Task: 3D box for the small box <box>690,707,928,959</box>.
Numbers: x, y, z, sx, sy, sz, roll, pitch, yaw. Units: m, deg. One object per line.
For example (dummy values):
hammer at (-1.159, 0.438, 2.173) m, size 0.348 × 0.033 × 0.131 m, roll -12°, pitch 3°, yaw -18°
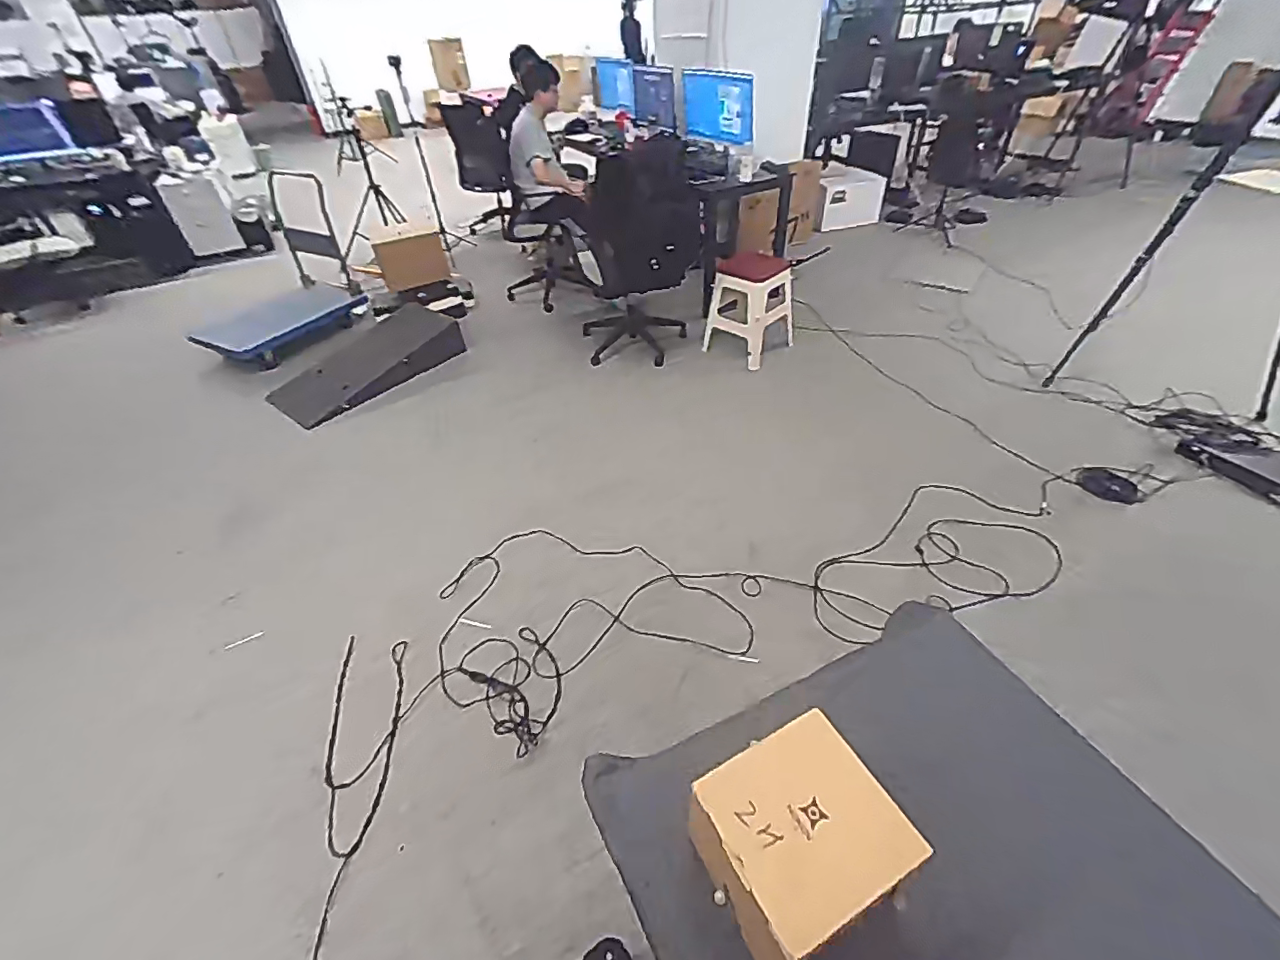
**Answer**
small box at (0.168, 0.394, 0.598) m, size 0.179 × 0.176 × 0.168 m, roll -21°, pitch 45°, yaw -19°
